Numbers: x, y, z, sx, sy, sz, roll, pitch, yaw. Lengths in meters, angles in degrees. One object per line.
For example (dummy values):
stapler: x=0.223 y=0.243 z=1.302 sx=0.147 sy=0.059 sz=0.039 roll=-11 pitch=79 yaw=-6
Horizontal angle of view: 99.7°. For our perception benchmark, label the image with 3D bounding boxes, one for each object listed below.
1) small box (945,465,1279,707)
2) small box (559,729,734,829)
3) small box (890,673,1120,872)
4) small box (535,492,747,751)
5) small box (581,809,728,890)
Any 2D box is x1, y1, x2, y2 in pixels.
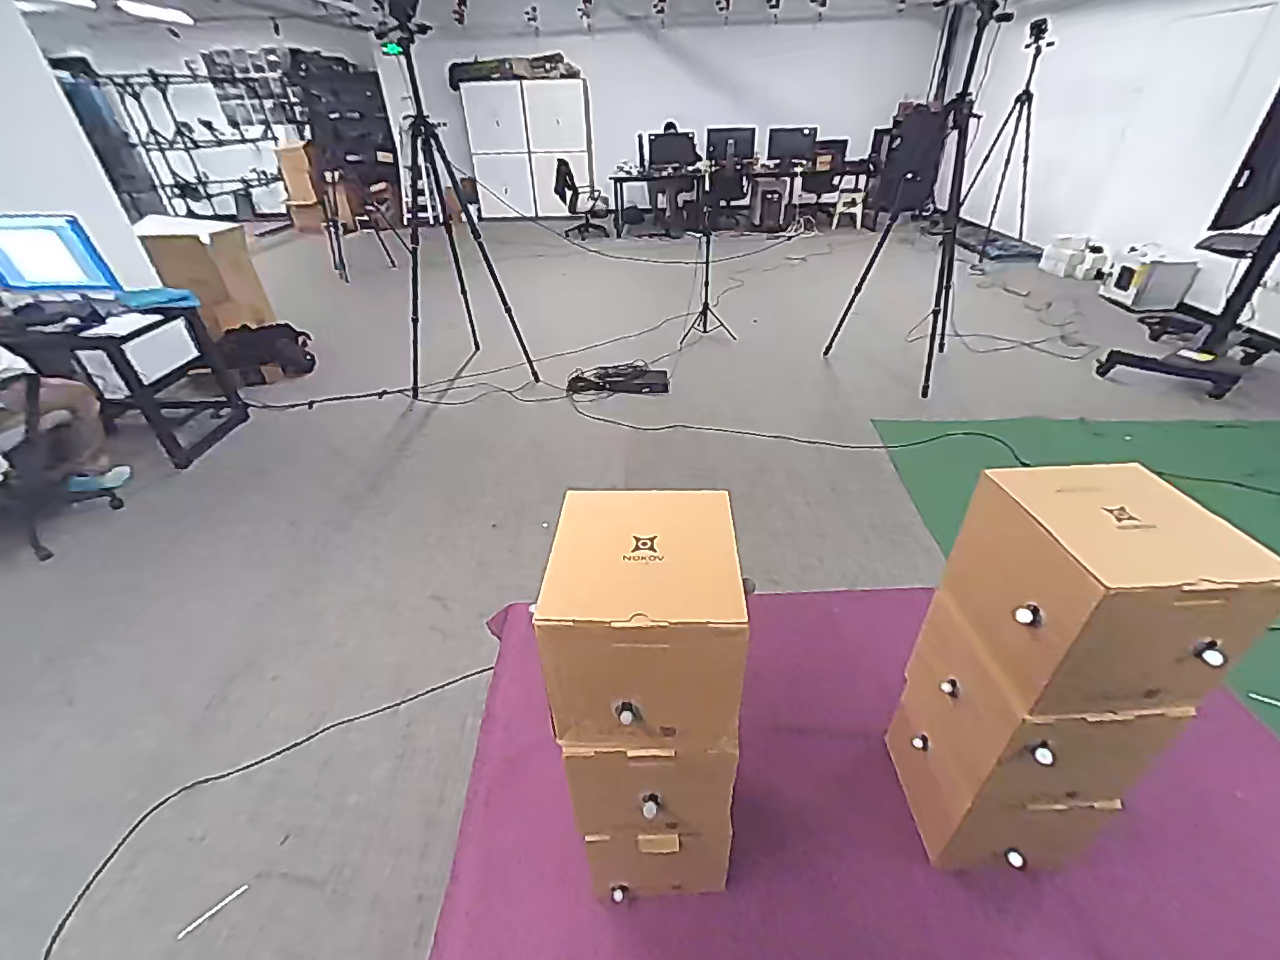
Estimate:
small box: x=0.438 y=0.104 z=0.530 sx=0.168 sy=0.176 sz=0.179 roll=-2 pitch=34 yaw=0
small box: x=0.010 y=0.268 z=0.609 sx=0.168 sy=0.176 sz=0.179 roll=-1 pitch=36 yaw=1
small box: x=0.451 y=0.378 z=0.709 sx=0.168 sy=0.176 sz=0.179 roll=-1 pitch=35 yaw=3
small box: x=0.005 y=0.129 z=0.521 sx=0.168 sy=0.176 sz=0.179 roll=0 pitch=35 yaw=3
small box: x=0.019 y=0.403 z=0.701 sx=0.168 sy=0.176 sz=0.179 roll=-2 pitch=34 yaw=-1
